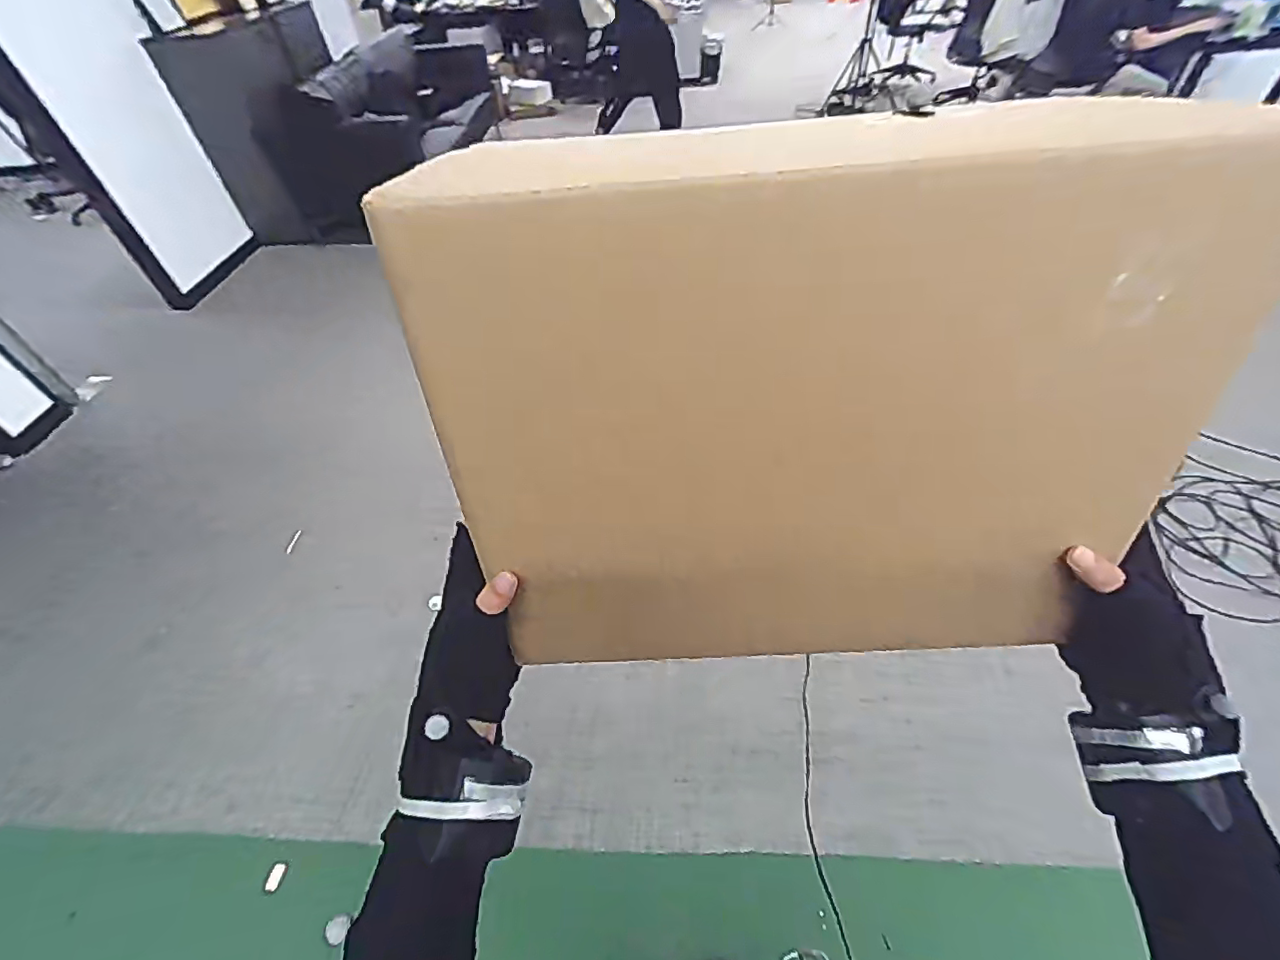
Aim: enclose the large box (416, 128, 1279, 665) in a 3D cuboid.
[{"bbox_3d":[0.103,-0.080,0.431,0.408,0.320,0.320,-2,35,1],"label":"large box"}]
